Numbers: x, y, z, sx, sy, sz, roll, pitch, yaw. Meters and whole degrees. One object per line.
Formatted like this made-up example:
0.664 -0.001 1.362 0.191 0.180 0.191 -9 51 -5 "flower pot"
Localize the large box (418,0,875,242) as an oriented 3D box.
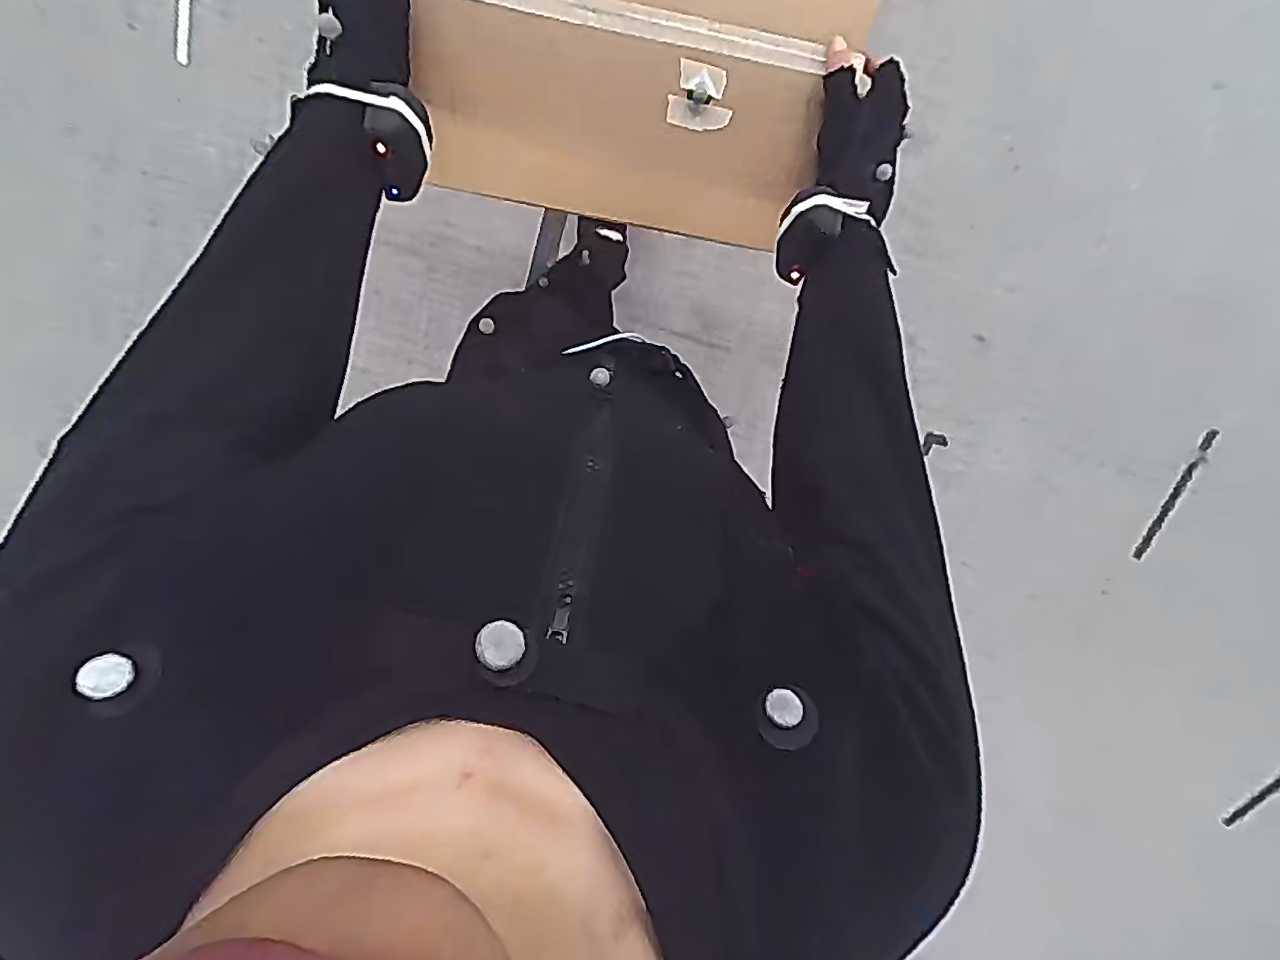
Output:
-0.001 -0.476 0.615 0.408 0.320 0.320 9 117 -6 "large box"
